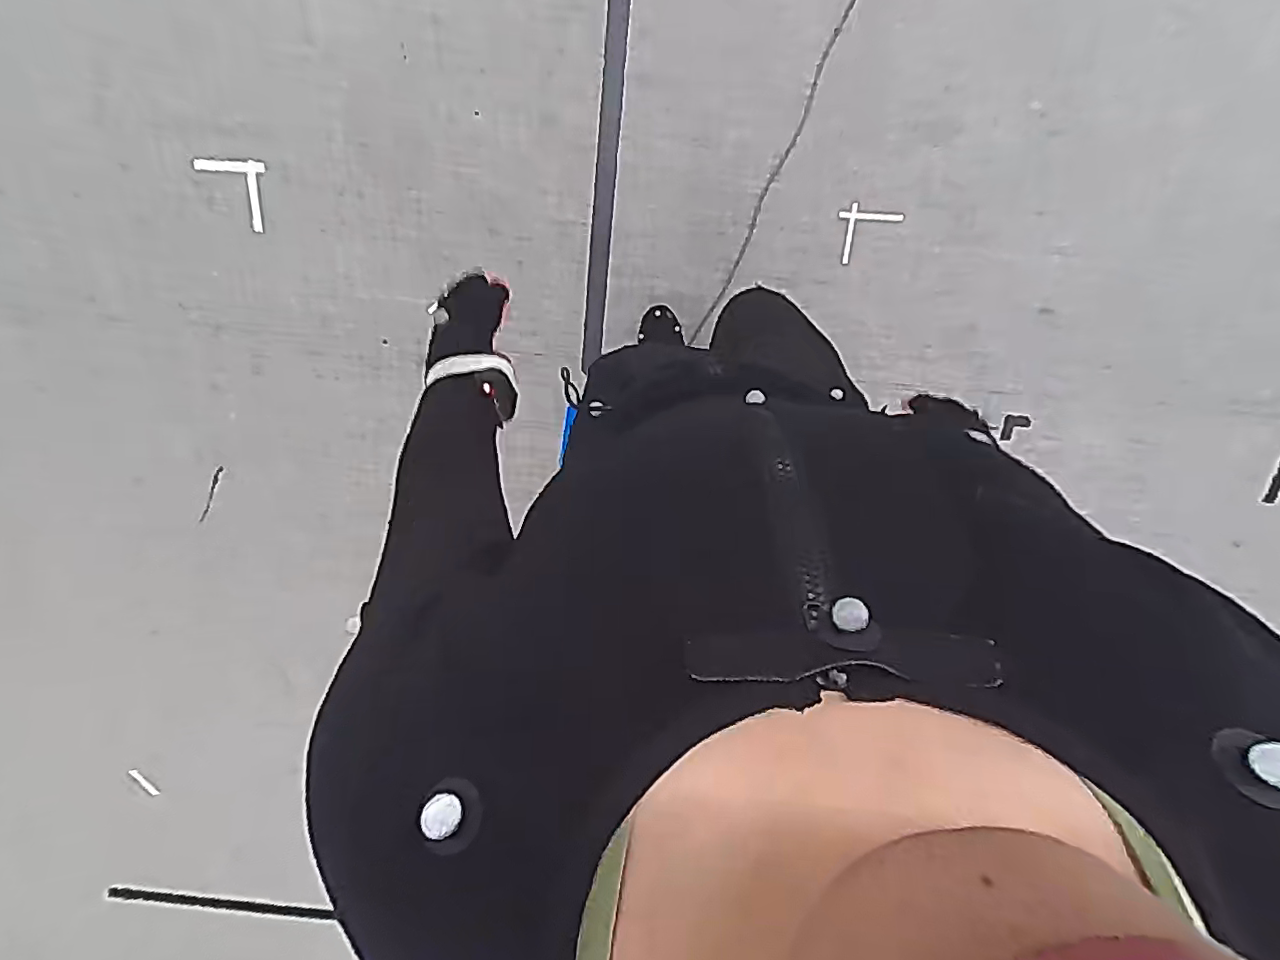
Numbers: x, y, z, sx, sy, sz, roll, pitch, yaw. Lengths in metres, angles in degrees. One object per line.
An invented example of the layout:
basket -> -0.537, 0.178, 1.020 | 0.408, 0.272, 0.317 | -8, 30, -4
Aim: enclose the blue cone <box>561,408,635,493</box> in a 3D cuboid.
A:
blue cone -> -0.114, -0.049, 1.285 | 0.193, 0.380, 0.192 | 9, 105, -1
